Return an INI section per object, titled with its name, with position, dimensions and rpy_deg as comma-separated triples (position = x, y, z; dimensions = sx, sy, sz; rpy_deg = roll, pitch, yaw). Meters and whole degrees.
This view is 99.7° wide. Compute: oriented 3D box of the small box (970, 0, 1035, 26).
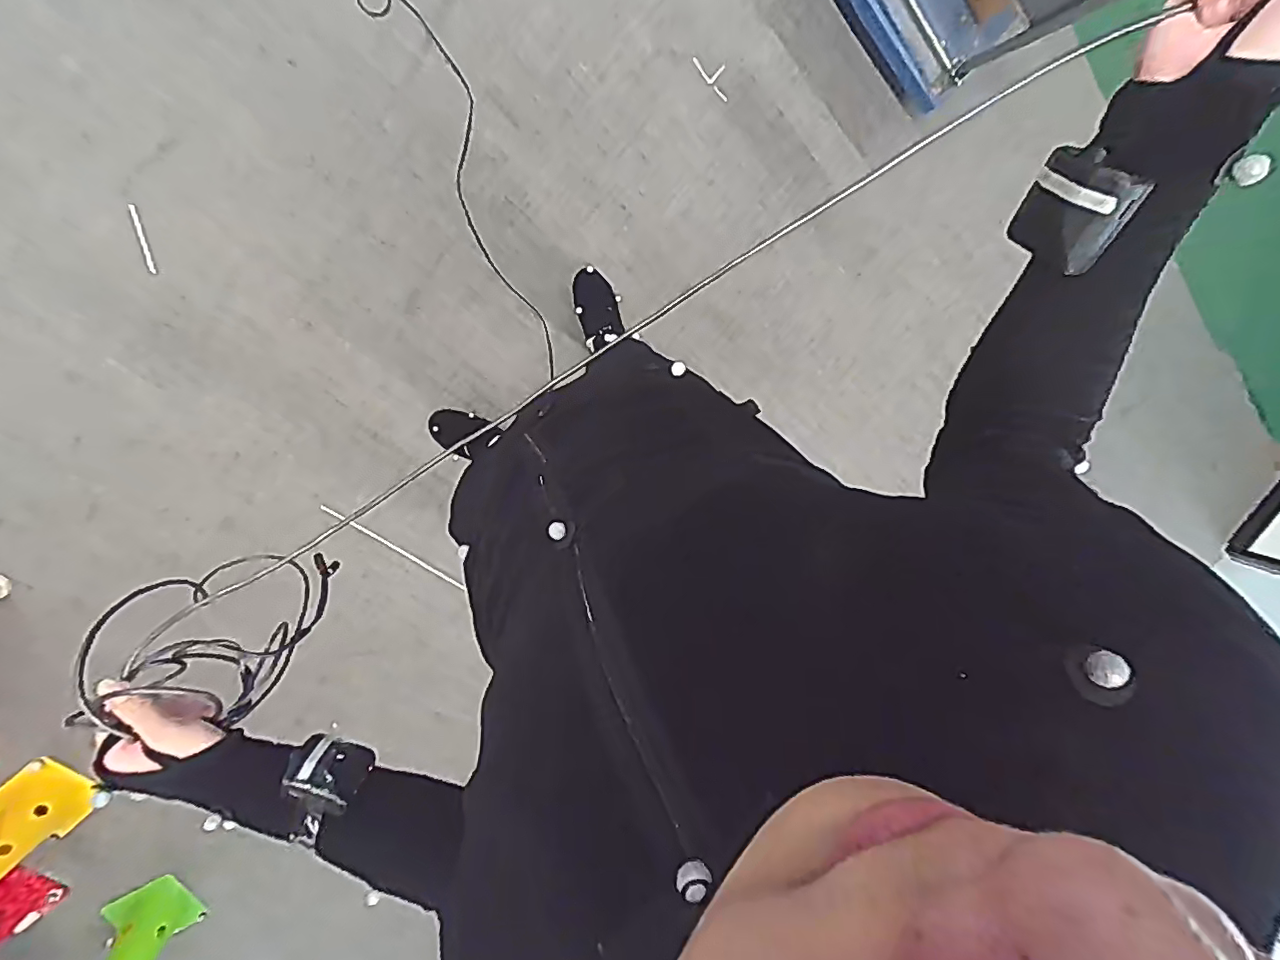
[small box]
position = 0.916, -1.259, 1.294
dimensions = 0.168, 0.176, 0.179
rpy_deg = 40, 92, -21
